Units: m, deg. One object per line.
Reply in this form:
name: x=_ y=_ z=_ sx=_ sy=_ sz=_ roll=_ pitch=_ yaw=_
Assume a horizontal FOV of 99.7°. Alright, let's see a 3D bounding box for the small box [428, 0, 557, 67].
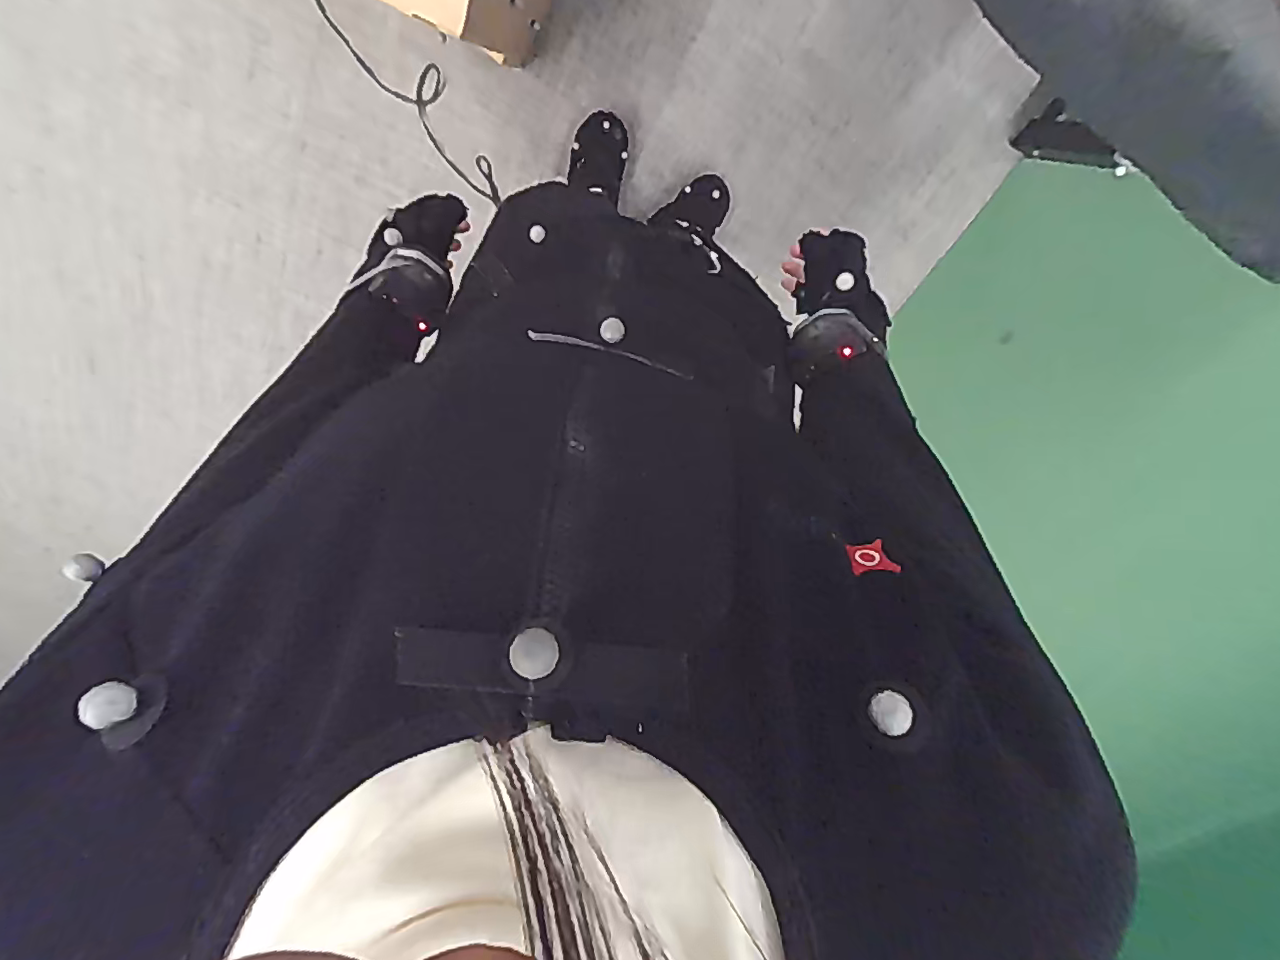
small box: x=-0.246 y=-0.858 z=0.931 sx=0.168 sy=0.176 sz=0.179 roll=32 pitch=121 yaw=-18
